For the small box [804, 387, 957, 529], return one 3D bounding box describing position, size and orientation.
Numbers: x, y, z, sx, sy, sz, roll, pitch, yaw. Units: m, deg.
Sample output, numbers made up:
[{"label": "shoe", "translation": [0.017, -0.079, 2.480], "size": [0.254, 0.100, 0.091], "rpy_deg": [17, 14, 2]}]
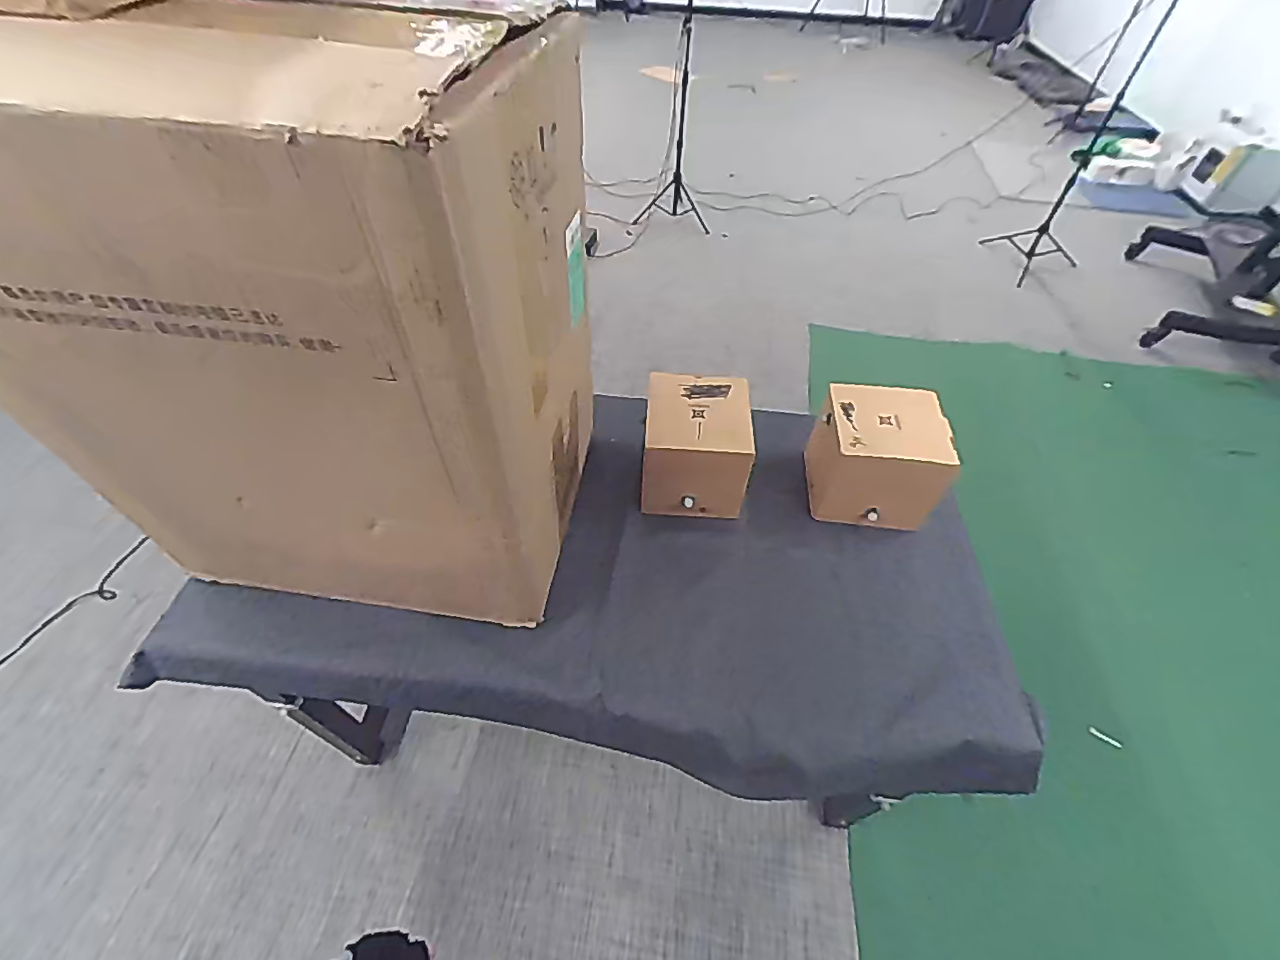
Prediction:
[{"label": "small box", "translation": [0.393, -0.033, 0.916], "size": [0.179, 0.176, 0.168], "rpy_deg": [6, 50, 3]}]
